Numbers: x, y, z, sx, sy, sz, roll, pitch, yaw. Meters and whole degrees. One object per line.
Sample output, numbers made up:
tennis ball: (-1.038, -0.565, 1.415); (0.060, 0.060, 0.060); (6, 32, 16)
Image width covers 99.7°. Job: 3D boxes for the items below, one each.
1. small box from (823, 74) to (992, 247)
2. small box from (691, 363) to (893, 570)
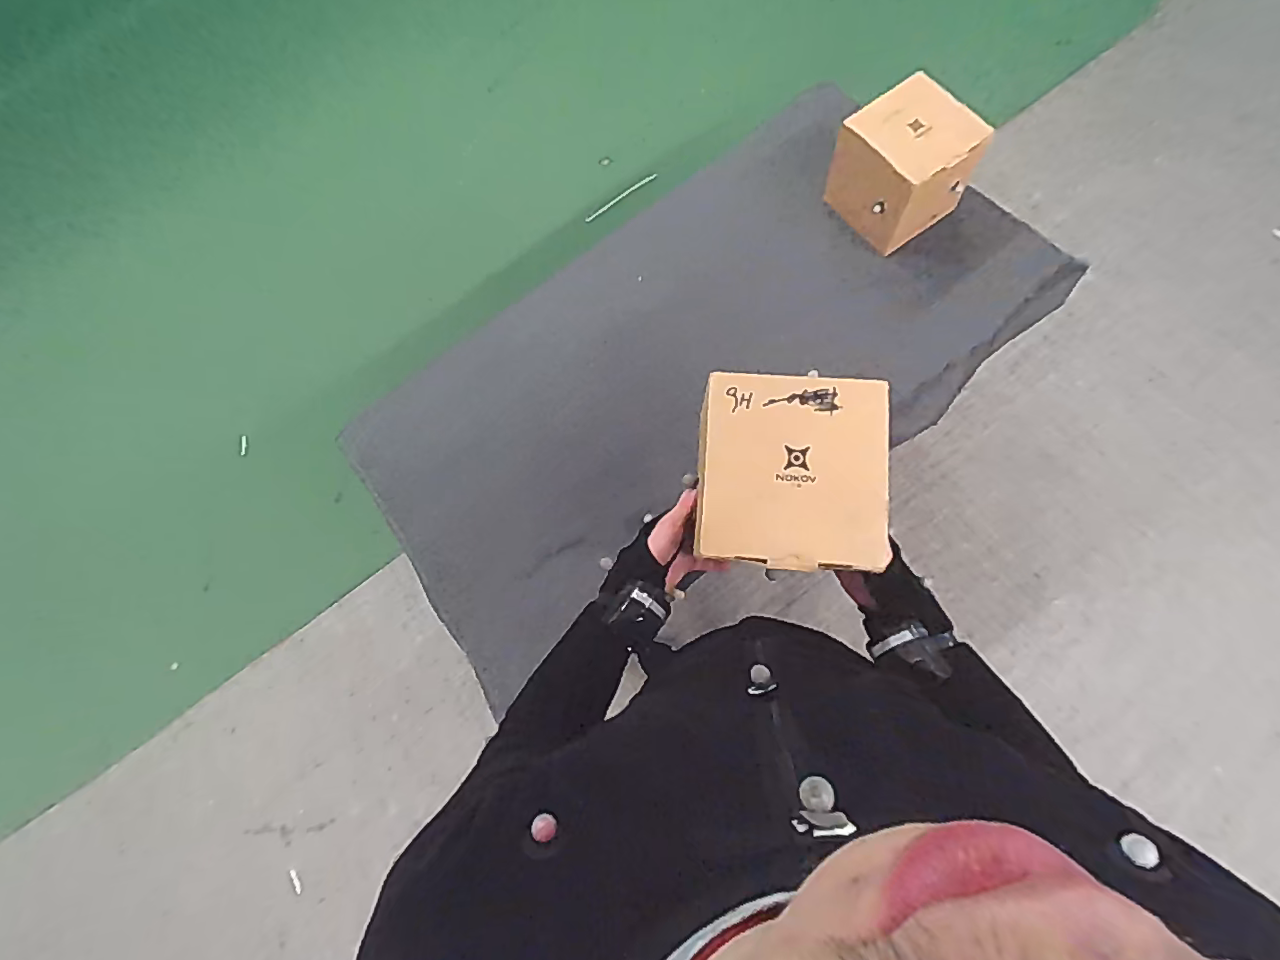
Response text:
small box: (0.451, -0.542, 0.944); (0.168, 0.176, 0.179); (-34, 72, -5)
small box: (0.143, -0.005, 0.560); (0.168, 0.176, 0.179); (5, 83, 3)
